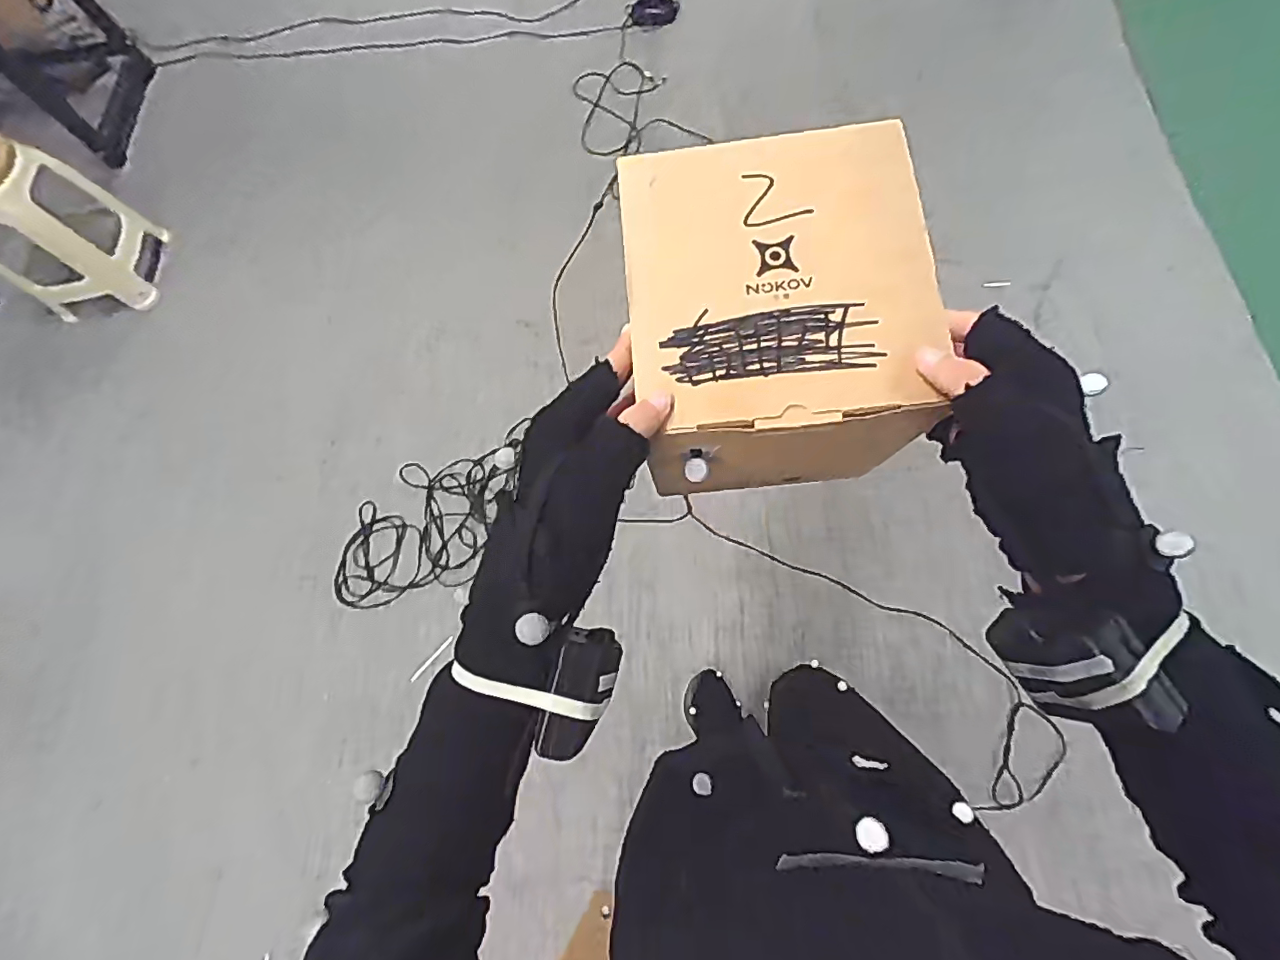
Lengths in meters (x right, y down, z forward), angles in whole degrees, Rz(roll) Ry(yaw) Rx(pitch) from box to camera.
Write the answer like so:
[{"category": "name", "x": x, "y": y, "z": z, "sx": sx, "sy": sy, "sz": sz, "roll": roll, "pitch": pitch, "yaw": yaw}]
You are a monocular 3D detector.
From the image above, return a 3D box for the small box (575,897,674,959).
[{"category": "small box", "x": -0.028, "y": 0.958, "z": 1.069, "sx": 0.179, "sy": 0.176, "sz": 0.168, "roll": 2, "pitch": 71, "yaw": 7}]
